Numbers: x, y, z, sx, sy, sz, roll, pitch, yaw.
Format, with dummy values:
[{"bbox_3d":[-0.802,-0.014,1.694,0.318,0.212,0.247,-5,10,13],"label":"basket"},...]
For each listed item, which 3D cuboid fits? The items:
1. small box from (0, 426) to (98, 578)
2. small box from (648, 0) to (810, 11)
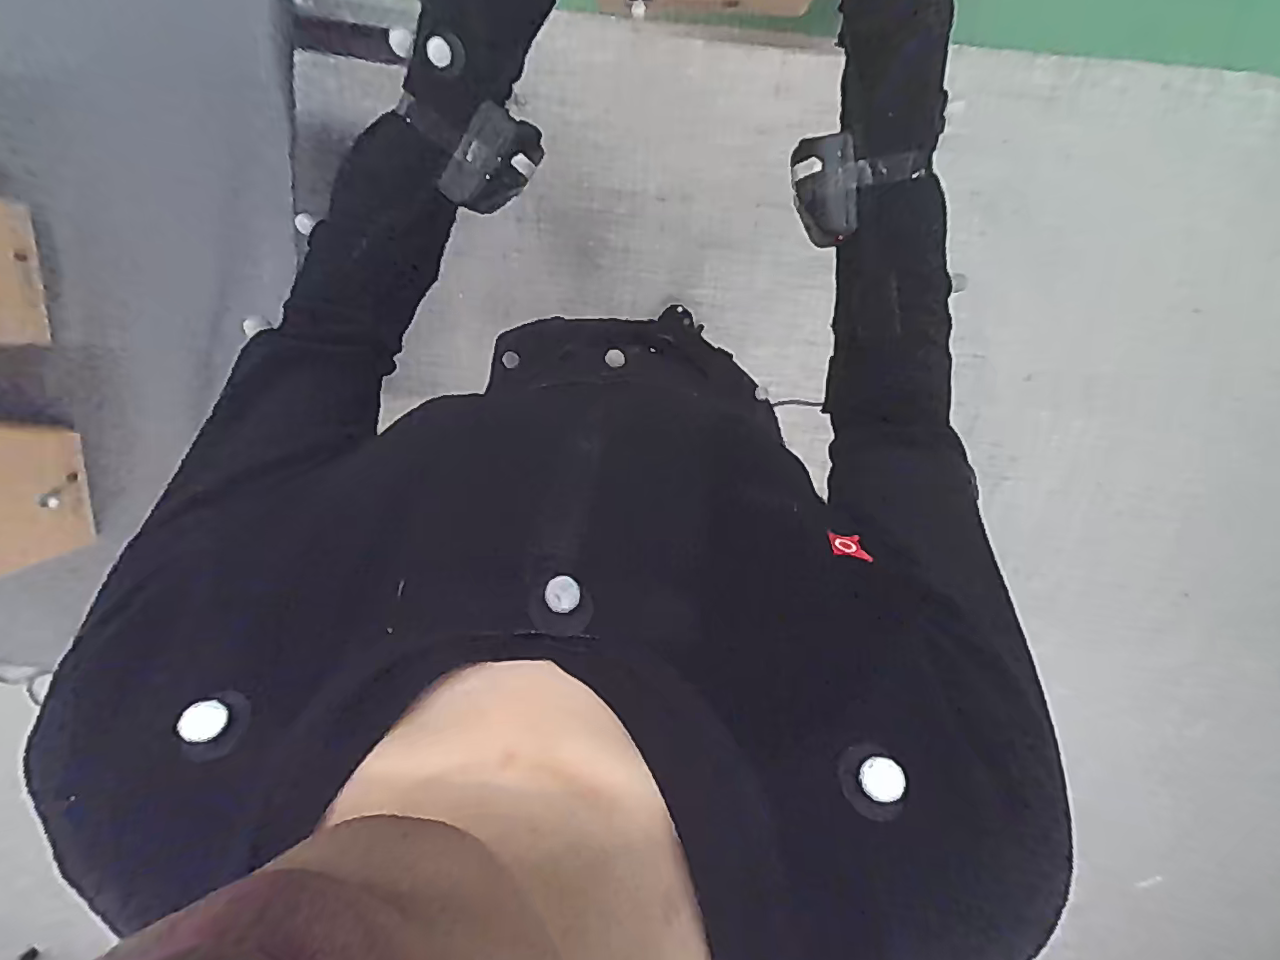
[{"bbox_3d":[-0.853,0.029,0.677,0.179,0.176,0.168,7,106,-1],"label":"small box"},{"bbox_3d":[0.058,-0.426,0.330,0.168,0.176,0.179,2,112,0],"label":"small box"}]
